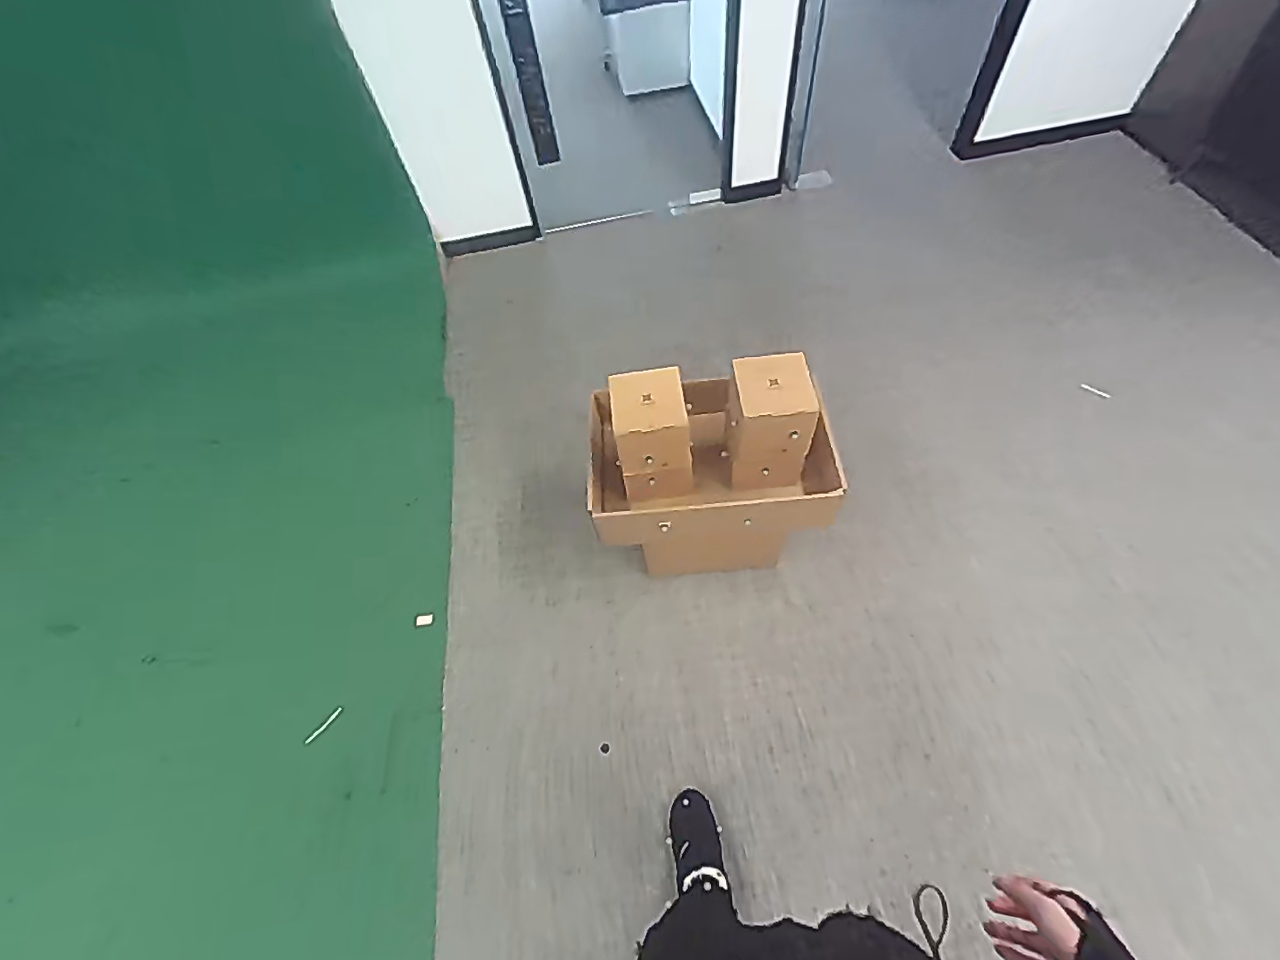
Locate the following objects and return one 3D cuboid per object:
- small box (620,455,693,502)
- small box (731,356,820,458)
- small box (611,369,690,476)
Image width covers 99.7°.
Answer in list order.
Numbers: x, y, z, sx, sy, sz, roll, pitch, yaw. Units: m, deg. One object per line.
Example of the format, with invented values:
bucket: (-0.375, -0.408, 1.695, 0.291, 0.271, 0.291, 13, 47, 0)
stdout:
small box: (0.041, -0.054, 1.410, 0.179, 0.176, 0.168, -7, 57, 2)
small box: (0.306, -0.162, 1.256, 0.168, 0.176, 0.179, -4, 56, 2)
small box: (0.025, -0.132, 1.268, 0.168, 0.176, 0.179, -7, 58, 1)
